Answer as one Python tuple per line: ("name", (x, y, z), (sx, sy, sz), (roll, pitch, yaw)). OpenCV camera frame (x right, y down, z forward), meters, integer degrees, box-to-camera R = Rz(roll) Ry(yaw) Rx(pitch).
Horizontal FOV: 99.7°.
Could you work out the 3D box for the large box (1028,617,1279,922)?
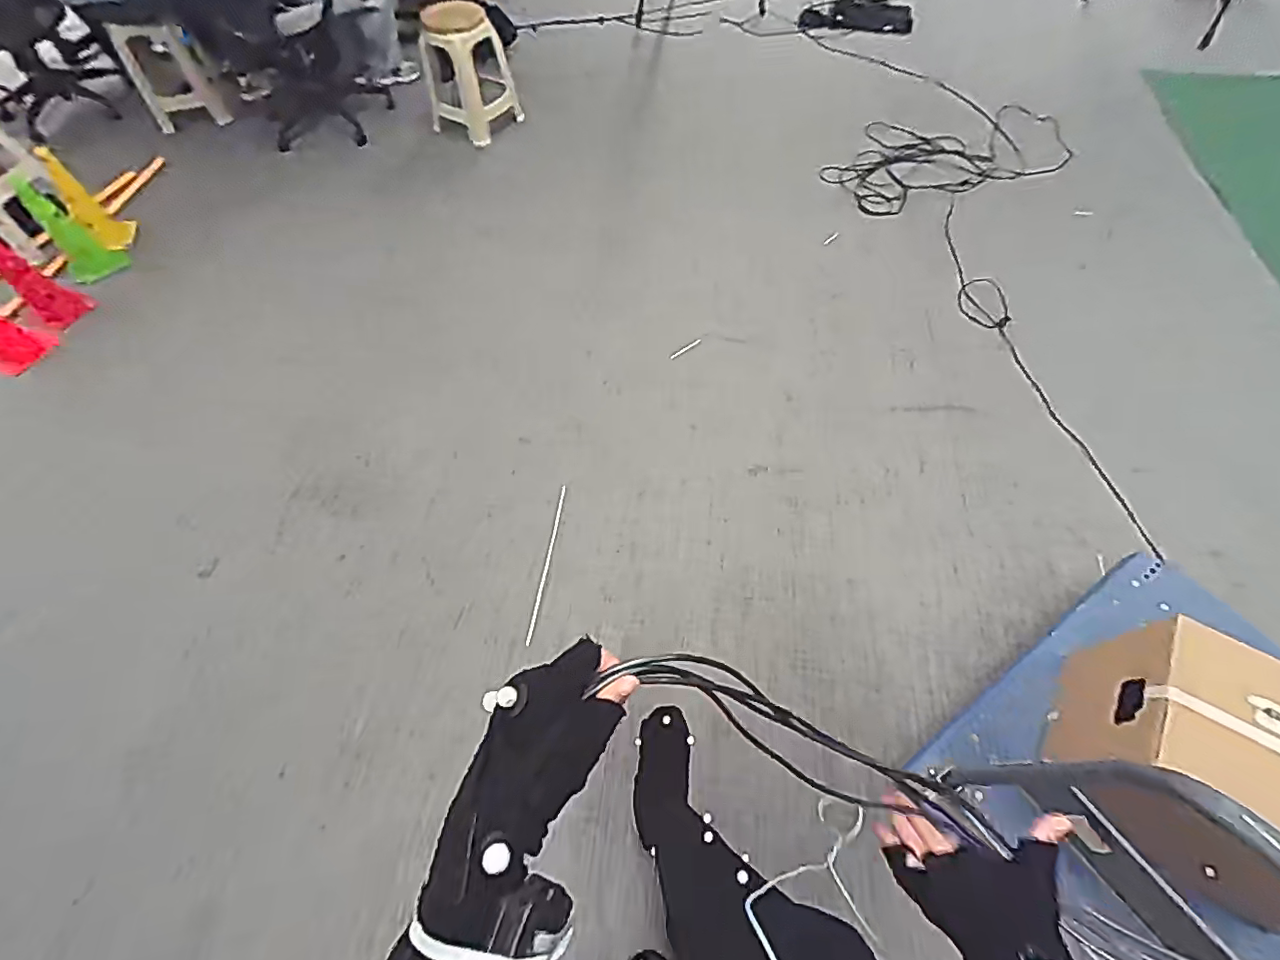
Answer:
("large box", (1.014, 0.513, 0.955), (0.408, 0.320, 0.320), (28, 64, 19))
